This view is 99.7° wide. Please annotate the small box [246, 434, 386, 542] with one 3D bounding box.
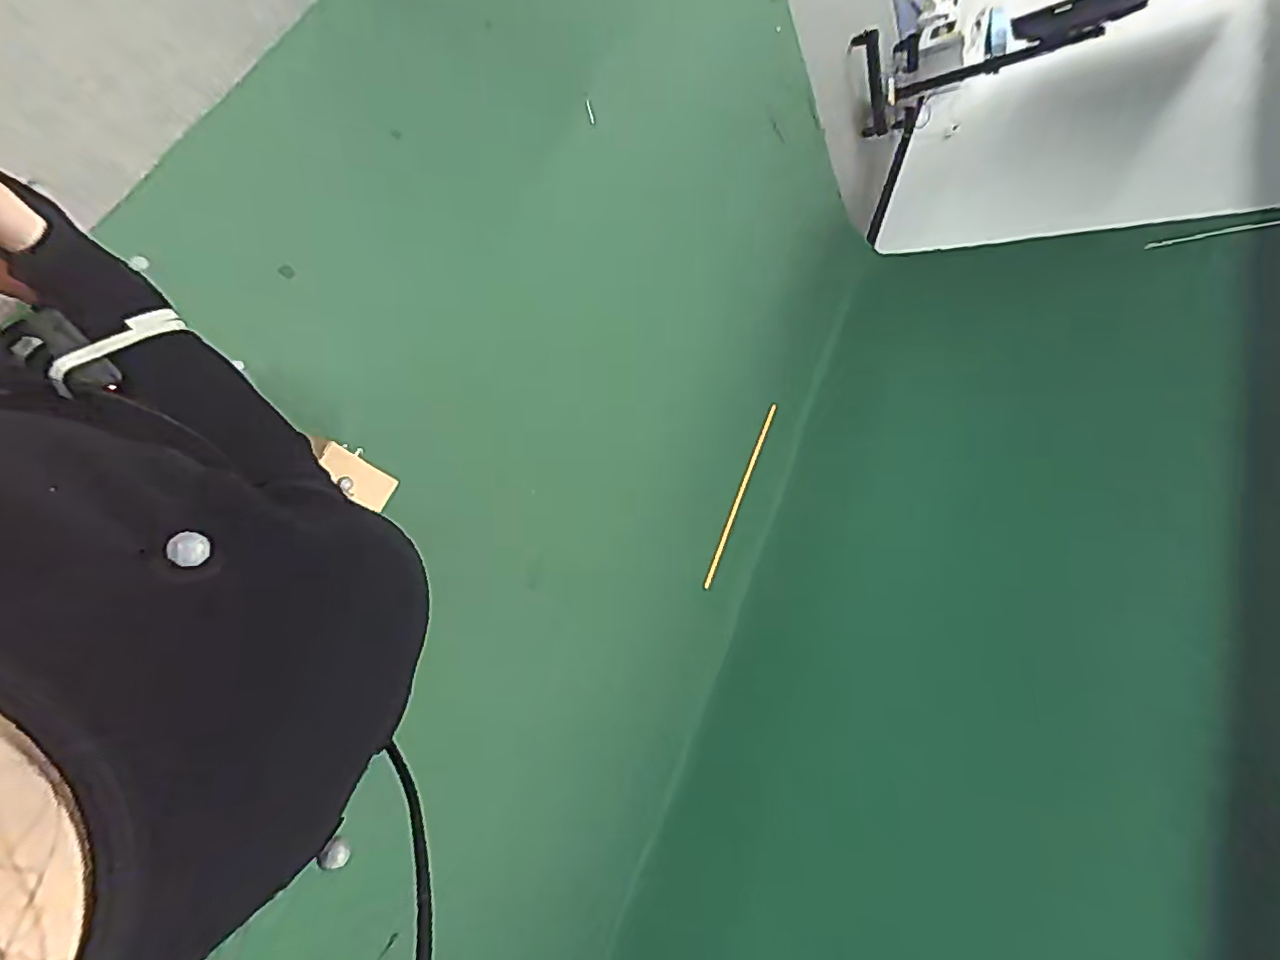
[{"bbox_3d":[-0.710,0.012,1.188,0.179,0.176,0.168,46,62,-46],"label":"small box"}]
